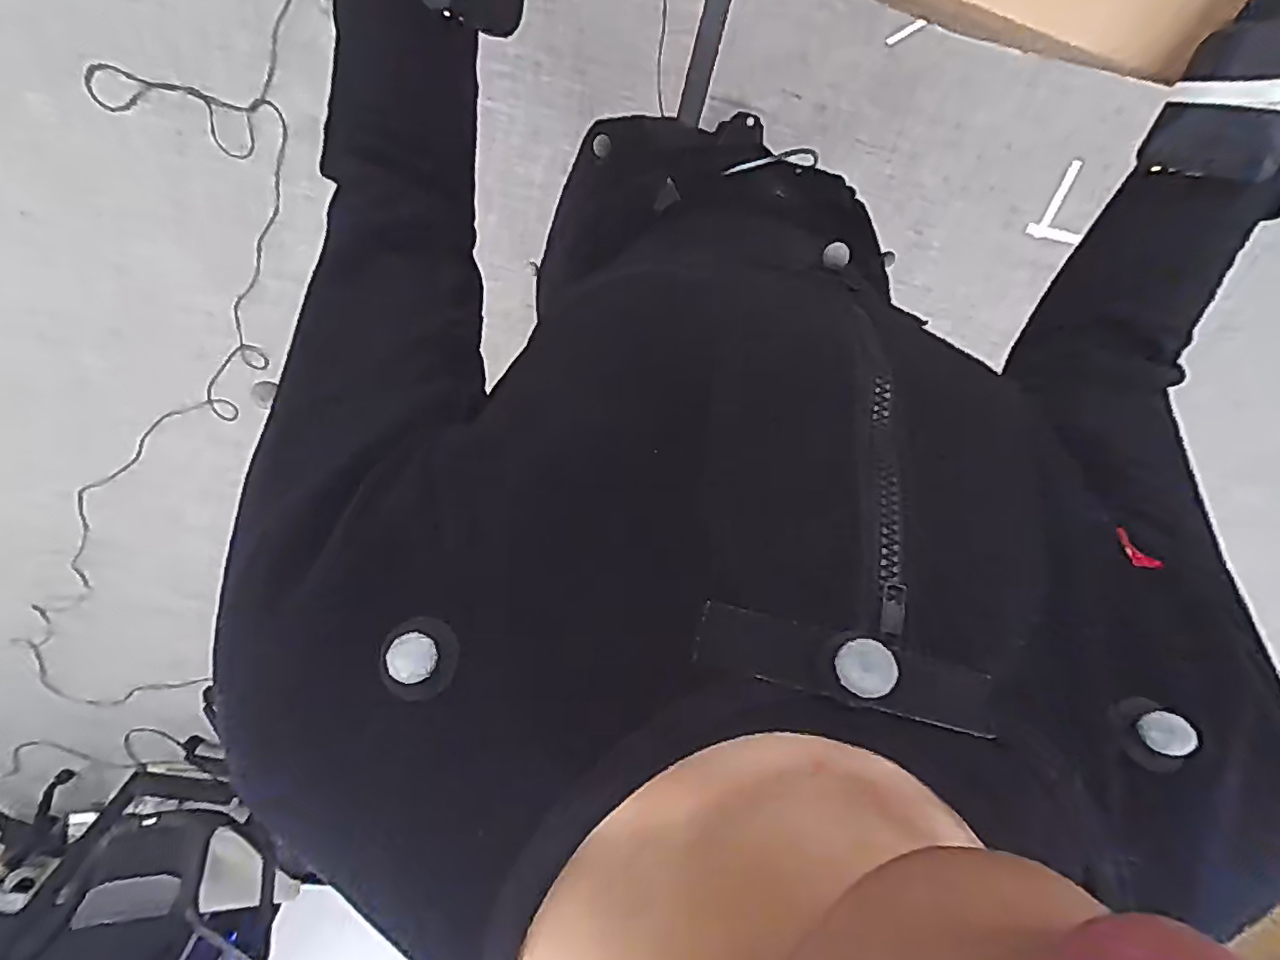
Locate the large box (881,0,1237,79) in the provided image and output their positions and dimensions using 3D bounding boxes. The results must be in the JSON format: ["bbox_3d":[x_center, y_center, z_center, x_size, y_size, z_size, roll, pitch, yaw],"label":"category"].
[{"bbox_3d":[0.164,-0.481,0.290,0.408,0.320,0.320,13,135,-9],"label":"large box"}]
